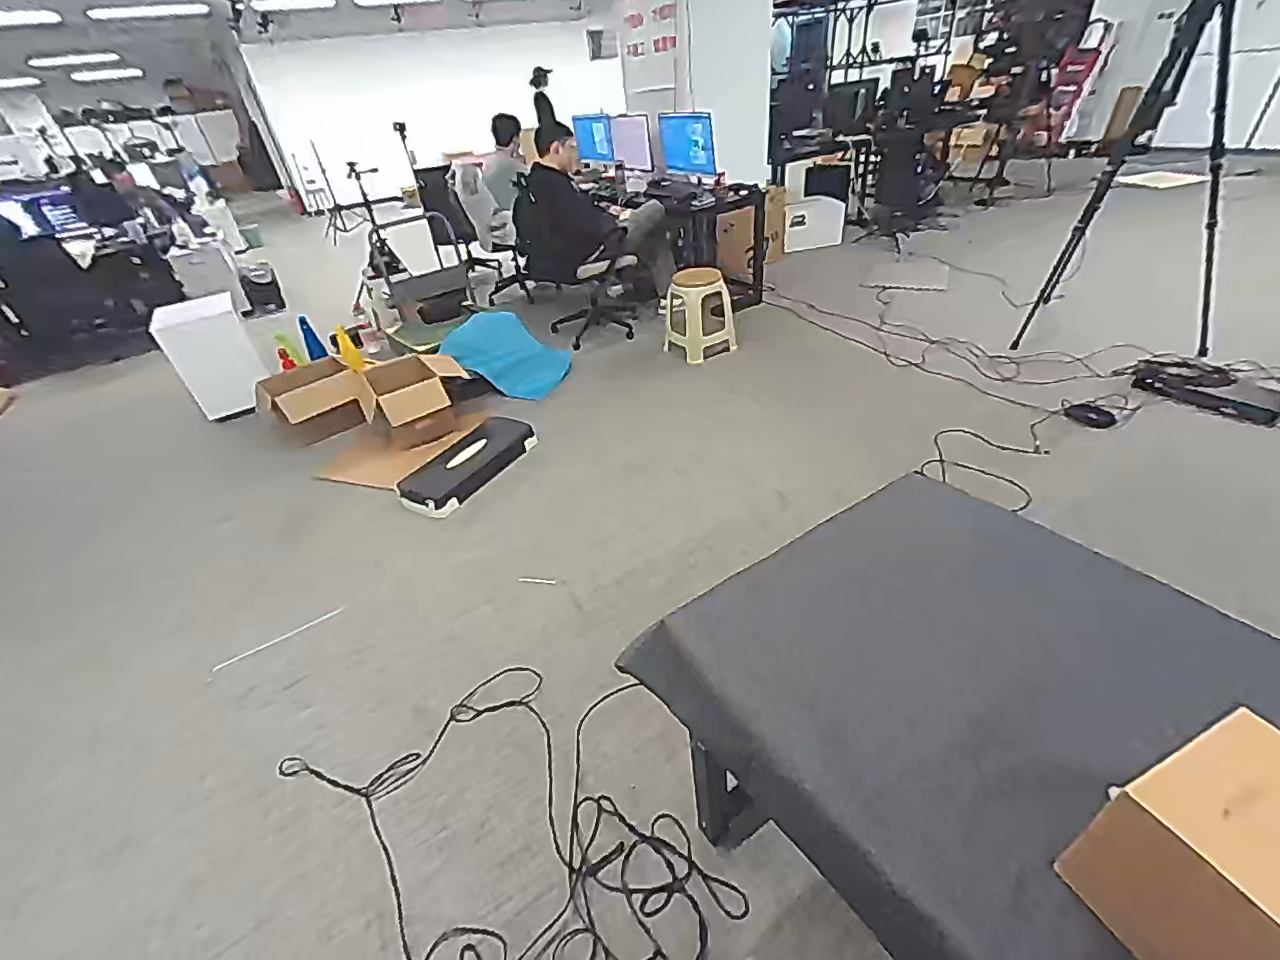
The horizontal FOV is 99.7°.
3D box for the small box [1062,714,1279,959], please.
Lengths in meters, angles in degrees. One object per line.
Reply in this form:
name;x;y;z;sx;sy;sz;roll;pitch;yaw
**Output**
small box;0.511;0.341;0.445;0.168;0.176;0.179;-18;37;-17
